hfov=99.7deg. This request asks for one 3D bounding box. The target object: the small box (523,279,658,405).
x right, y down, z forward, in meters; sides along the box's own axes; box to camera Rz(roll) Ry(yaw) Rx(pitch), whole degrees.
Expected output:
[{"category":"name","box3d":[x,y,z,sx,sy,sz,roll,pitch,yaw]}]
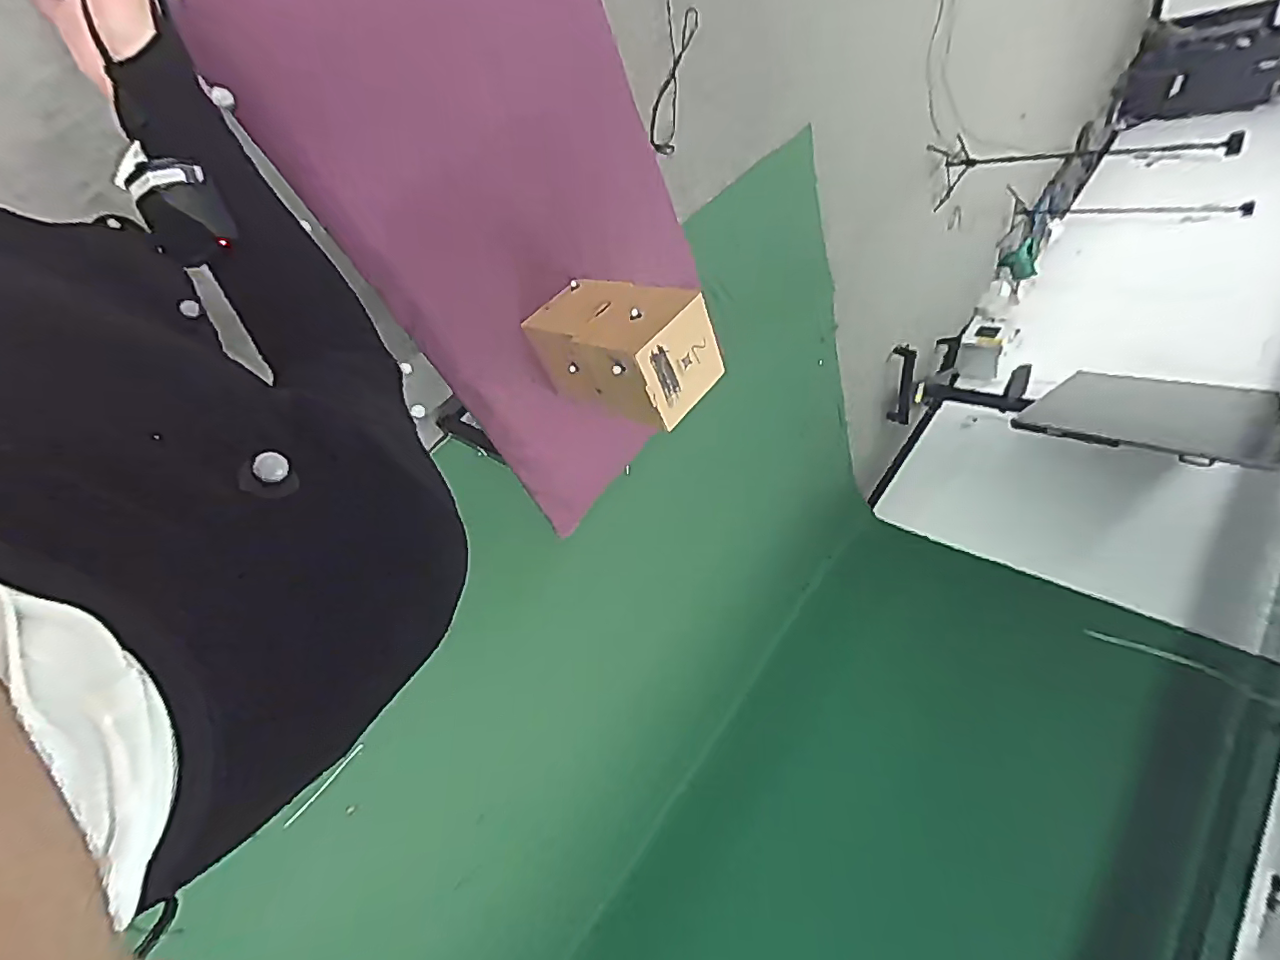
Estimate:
[{"category":"small box","box3d":[-0.099,-0.278,1.067,0.168,0.176,0.179,-47,136,-21]}]
